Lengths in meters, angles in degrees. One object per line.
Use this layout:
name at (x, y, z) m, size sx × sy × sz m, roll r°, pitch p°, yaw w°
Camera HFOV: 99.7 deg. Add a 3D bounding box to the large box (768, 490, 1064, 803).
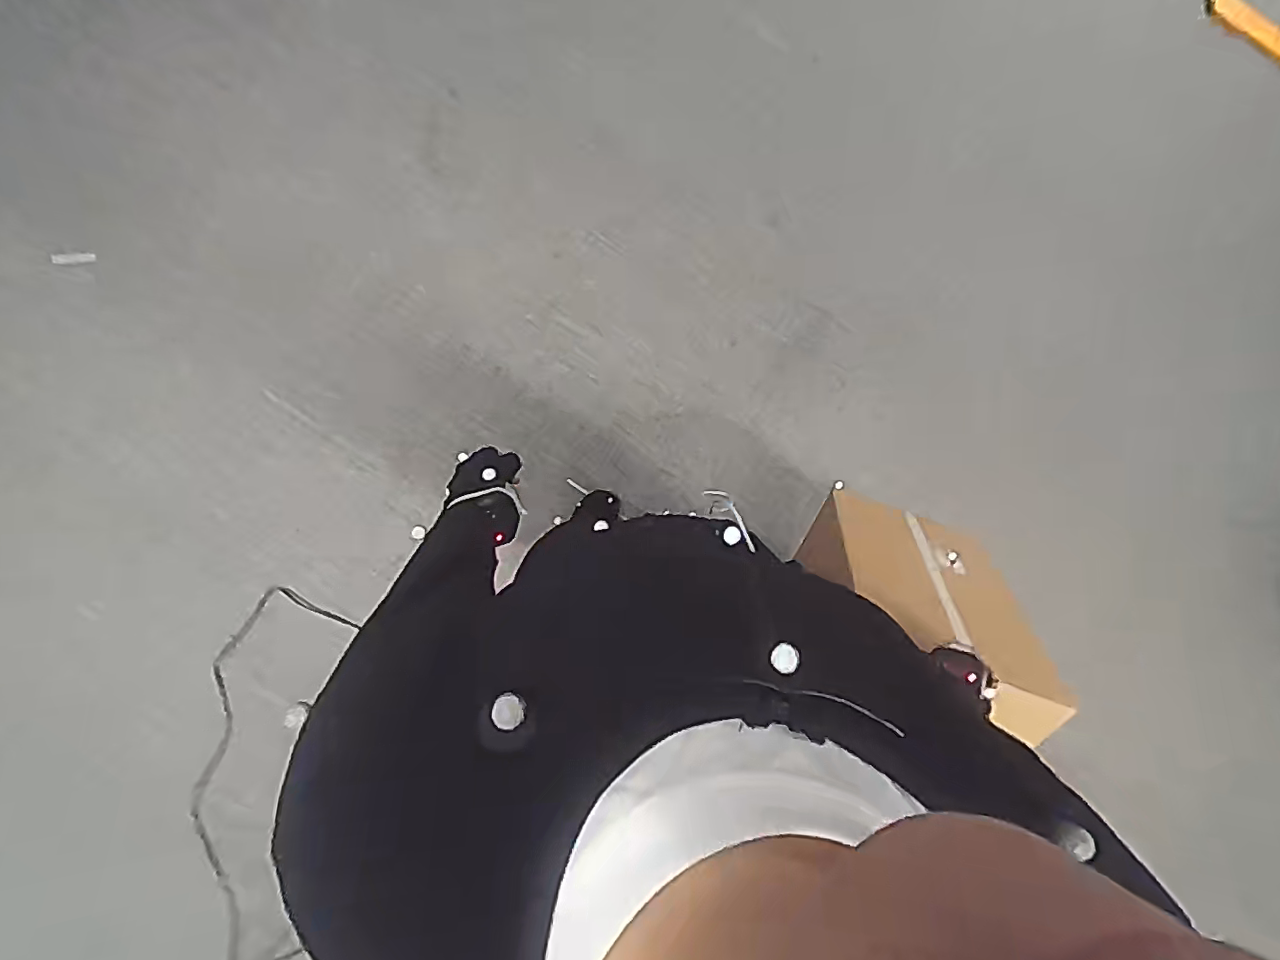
large box at (0.442, 0.285, 0.998) m, size 0.320 × 0.408 × 0.320 m, roll 20°, pitch 120°, yaw 0°
